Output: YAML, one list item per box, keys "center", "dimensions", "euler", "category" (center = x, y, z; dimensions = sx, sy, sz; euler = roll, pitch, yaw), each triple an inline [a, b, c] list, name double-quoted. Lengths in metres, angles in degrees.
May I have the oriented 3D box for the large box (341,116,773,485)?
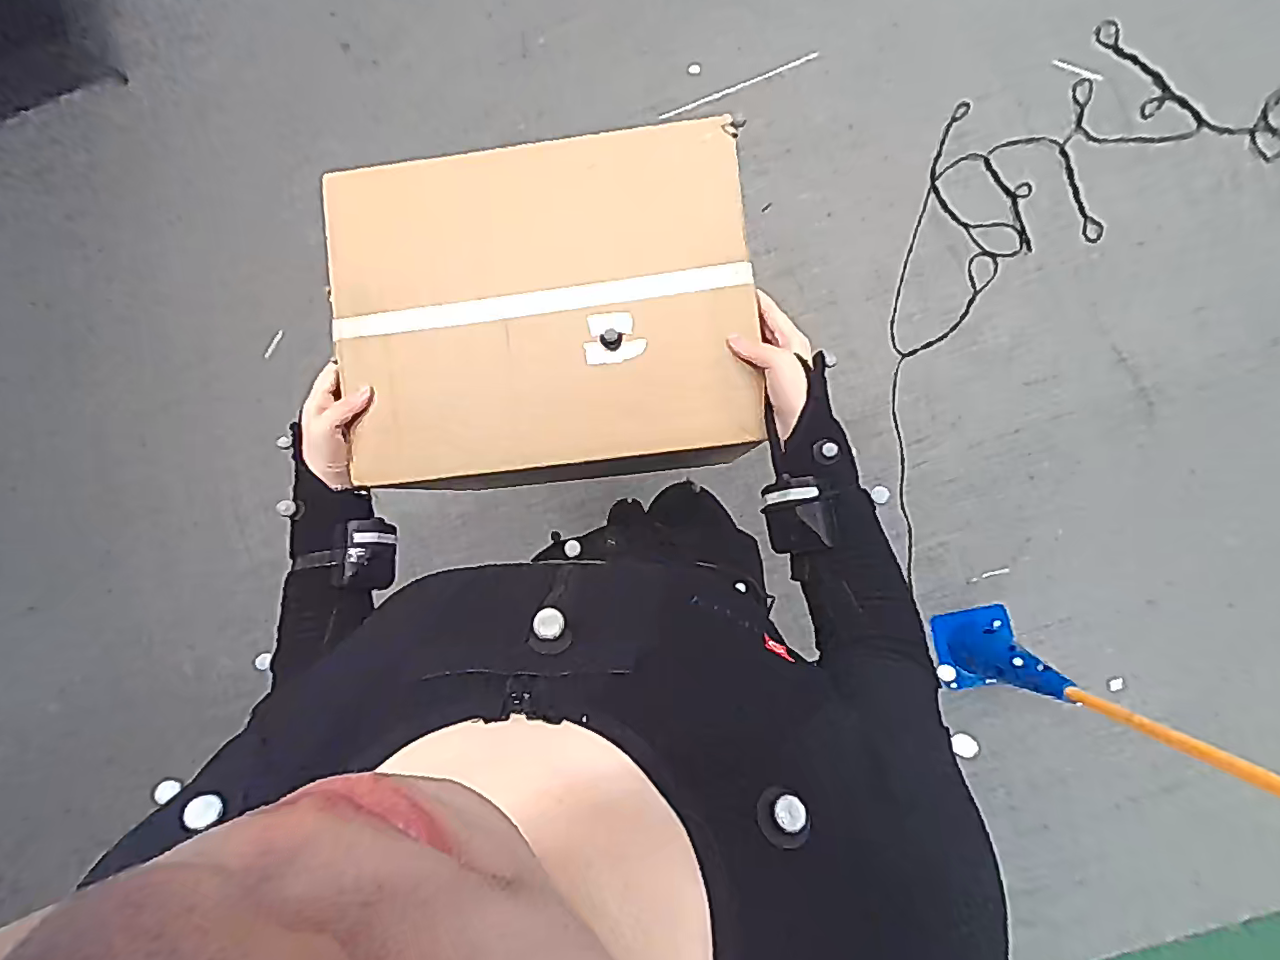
- center: [-0.082, -0.173, 0.673]
  dimensions: [0.408, 0.320, 0.320]
  euler: [-6, 88, 2]
  category: "large box"

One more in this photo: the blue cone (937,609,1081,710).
- center: [0.876, 0.438, 1.262]
  dimensions: [0.193, 0.380, 0.192]
  euler: [-11, 87, 4]
  category: "blue cone"
